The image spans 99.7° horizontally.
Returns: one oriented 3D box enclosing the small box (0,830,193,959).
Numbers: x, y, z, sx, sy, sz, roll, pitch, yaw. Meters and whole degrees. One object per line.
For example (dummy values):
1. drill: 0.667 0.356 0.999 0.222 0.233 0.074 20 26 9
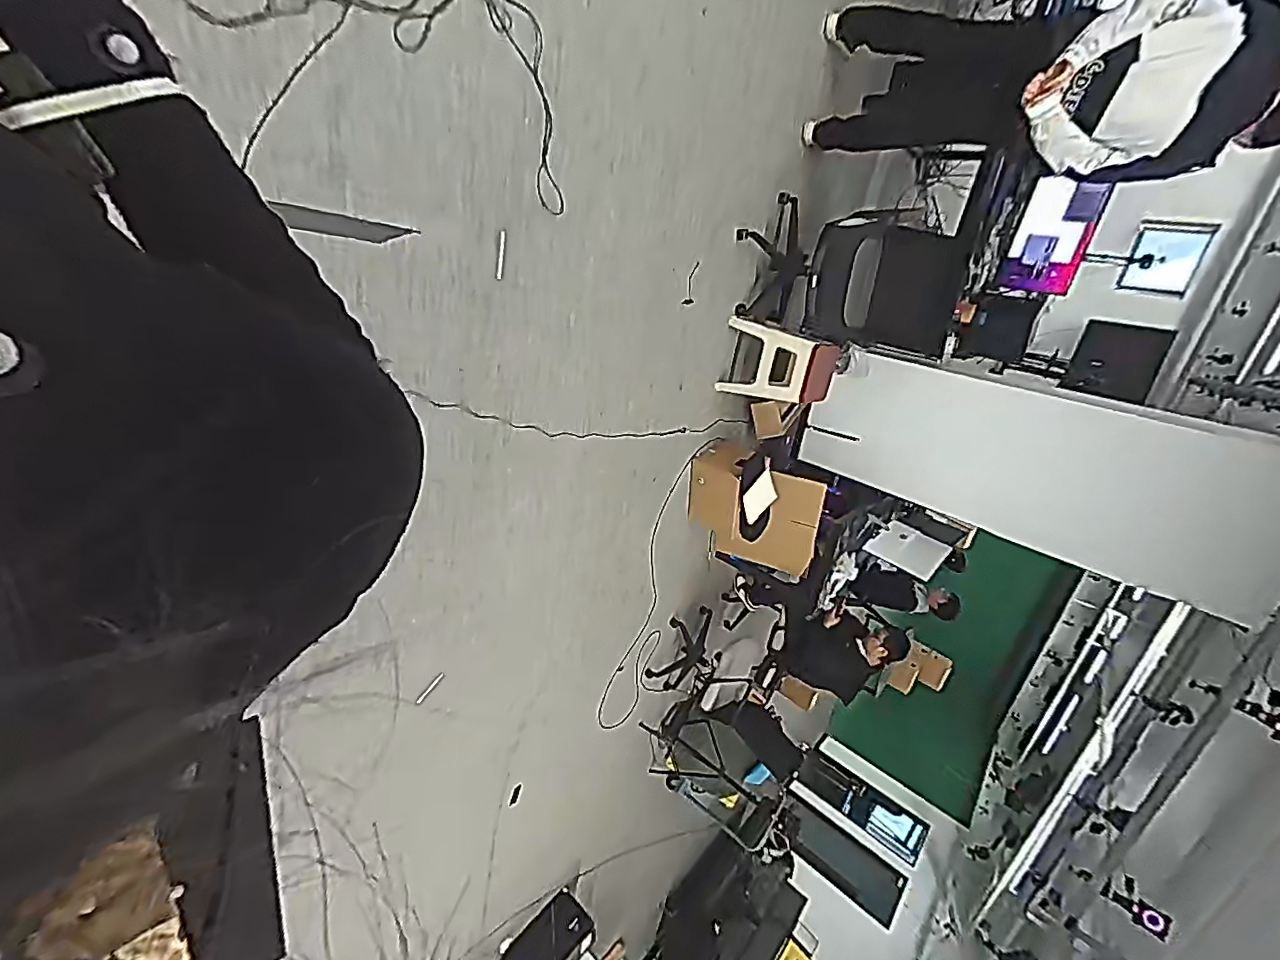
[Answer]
1. small box: -0.698 0.597 0.680 0.179 0.176 0.168 -14 121 -49
